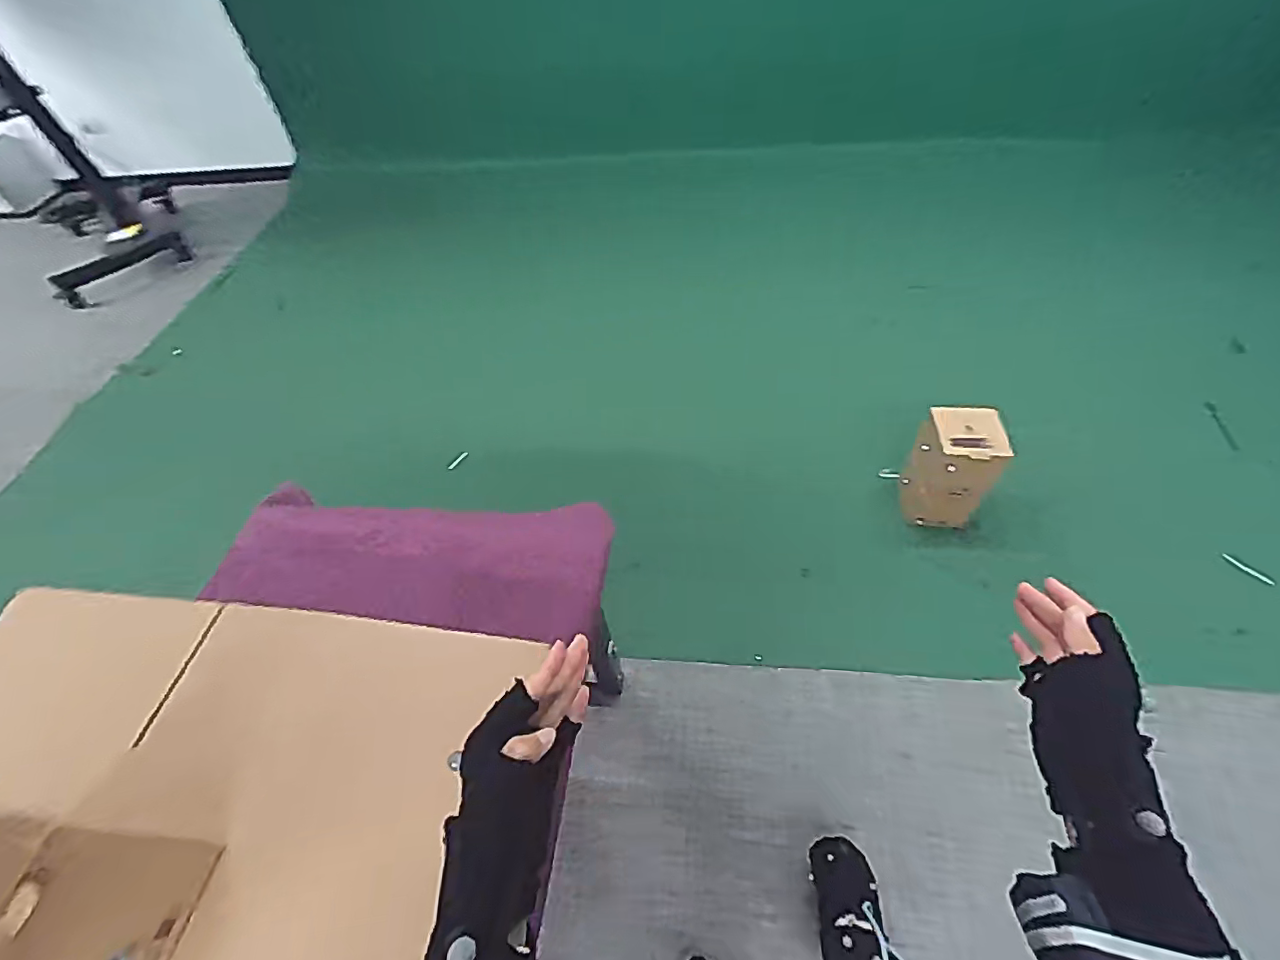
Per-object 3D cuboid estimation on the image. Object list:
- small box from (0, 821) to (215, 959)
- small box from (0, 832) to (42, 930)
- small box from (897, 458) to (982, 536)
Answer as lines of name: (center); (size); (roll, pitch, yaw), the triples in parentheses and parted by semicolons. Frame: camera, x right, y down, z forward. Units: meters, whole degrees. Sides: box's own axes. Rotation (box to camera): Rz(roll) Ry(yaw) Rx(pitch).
small box: (-0.475, 0.349, 0.385); (0.179, 0.176, 0.168); (2, 53, 9)
small box: (-0.486, 0.249, 0.256); (0.179, 0.176, 0.168); (1, 52, 8)
small box: (0.894, 0.054, 1.631); (0.168, 0.176, 0.179); (3, 51, 8)
